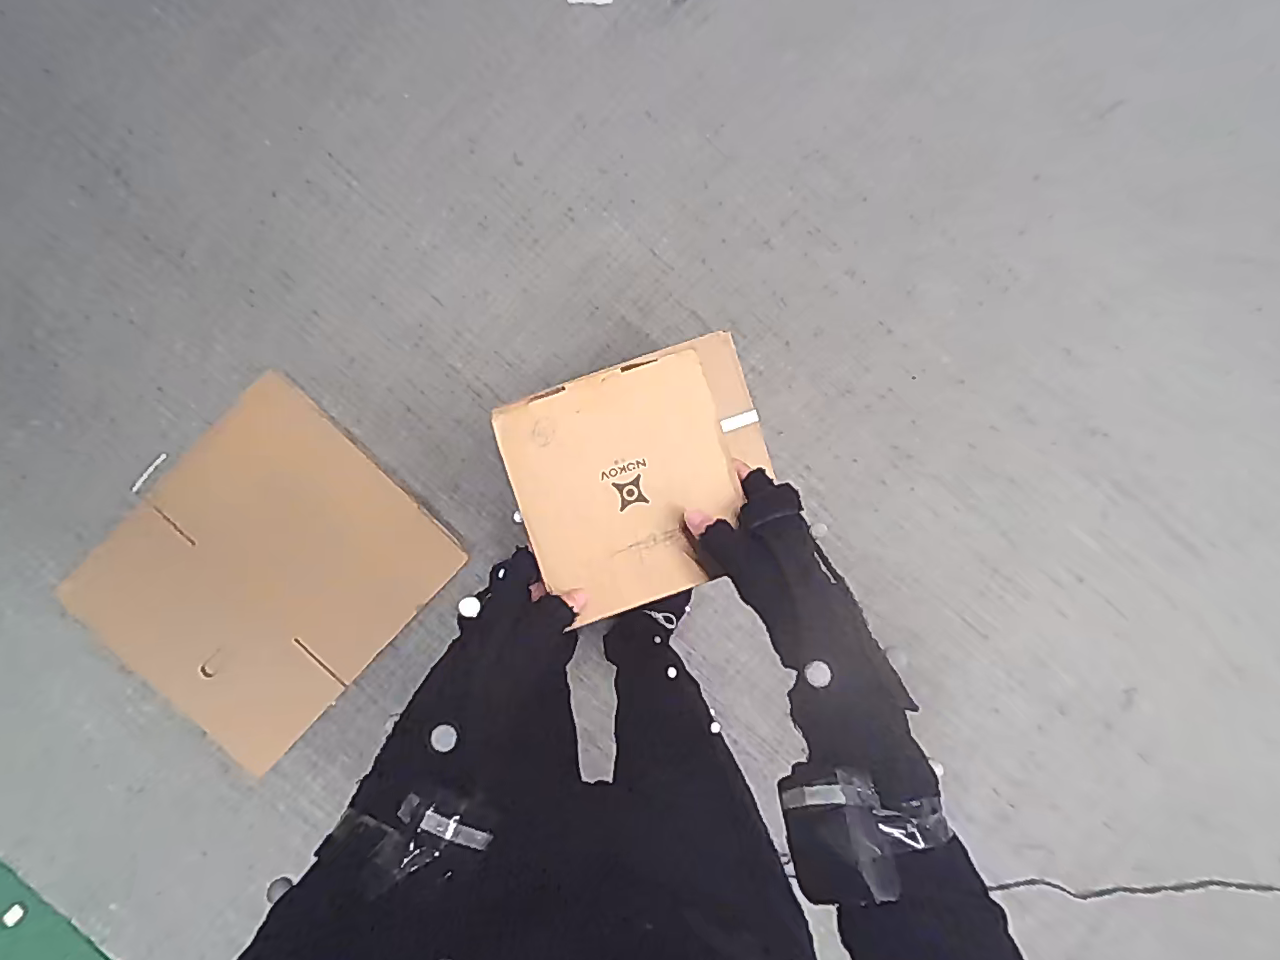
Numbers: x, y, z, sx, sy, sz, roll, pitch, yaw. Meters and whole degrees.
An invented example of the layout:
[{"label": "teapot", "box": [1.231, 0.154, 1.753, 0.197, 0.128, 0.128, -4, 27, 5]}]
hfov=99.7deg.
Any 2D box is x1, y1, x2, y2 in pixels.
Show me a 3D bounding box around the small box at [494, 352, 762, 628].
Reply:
[{"label": "small box", "box": [-0.012, 0.007, 0.493, 0.168, 0.176, 0.179, -20, 91, -1]}]
